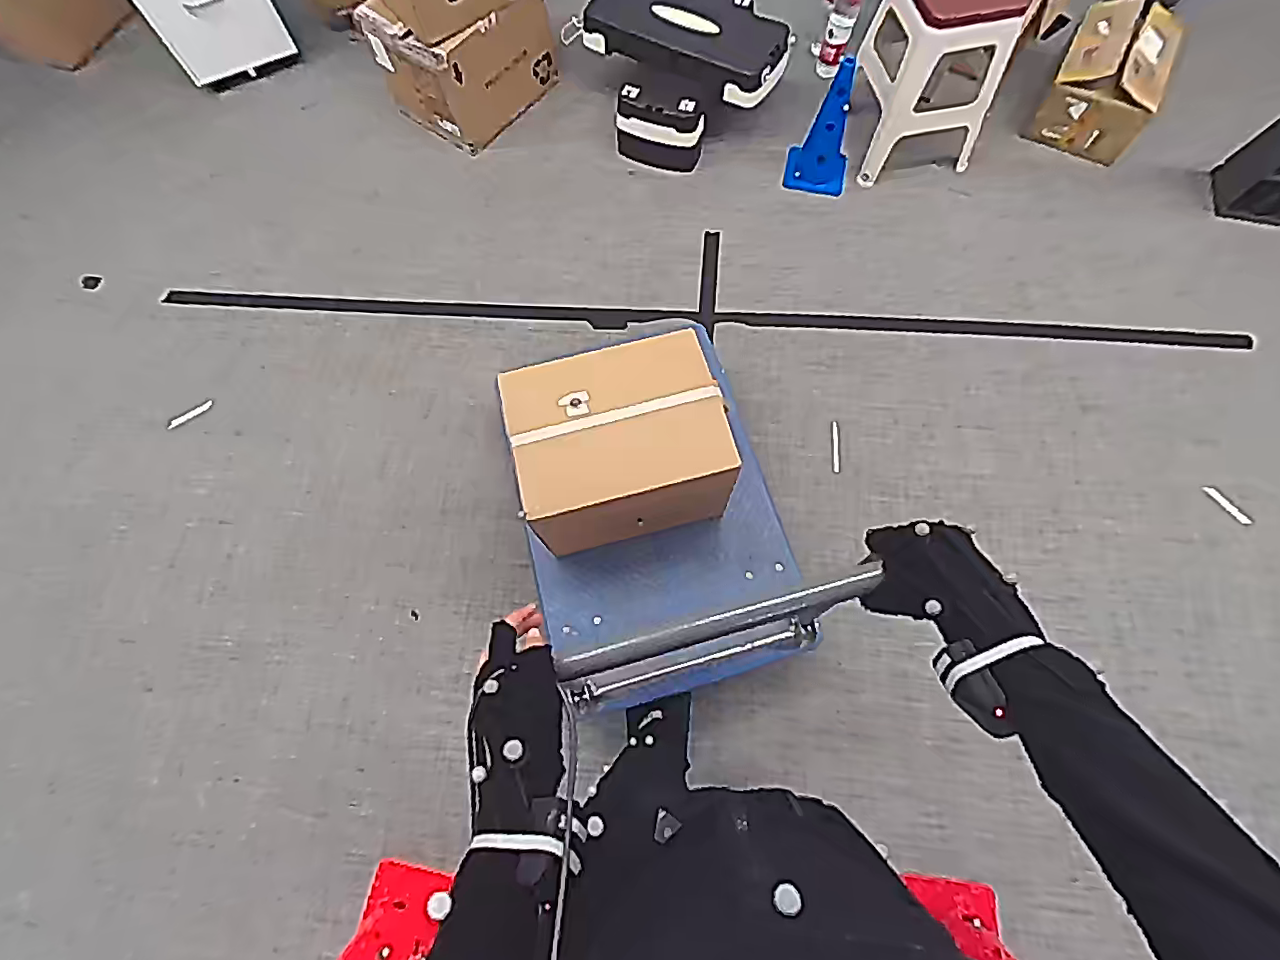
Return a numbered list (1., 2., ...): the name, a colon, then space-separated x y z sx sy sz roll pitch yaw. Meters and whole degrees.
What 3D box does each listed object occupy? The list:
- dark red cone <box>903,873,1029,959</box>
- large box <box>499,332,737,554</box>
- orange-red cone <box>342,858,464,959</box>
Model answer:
1. dark red cone: 0.639 0.865 0.940 0.201 0.394 0.202 5 70 1
2. large box: -0.043 -0.062 1.168 0.408 0.320 0.320 -15 70 -3
3. orange-red cone: -0.494 0.876 0.992 0.198 0.360 0.199 12 69 5
